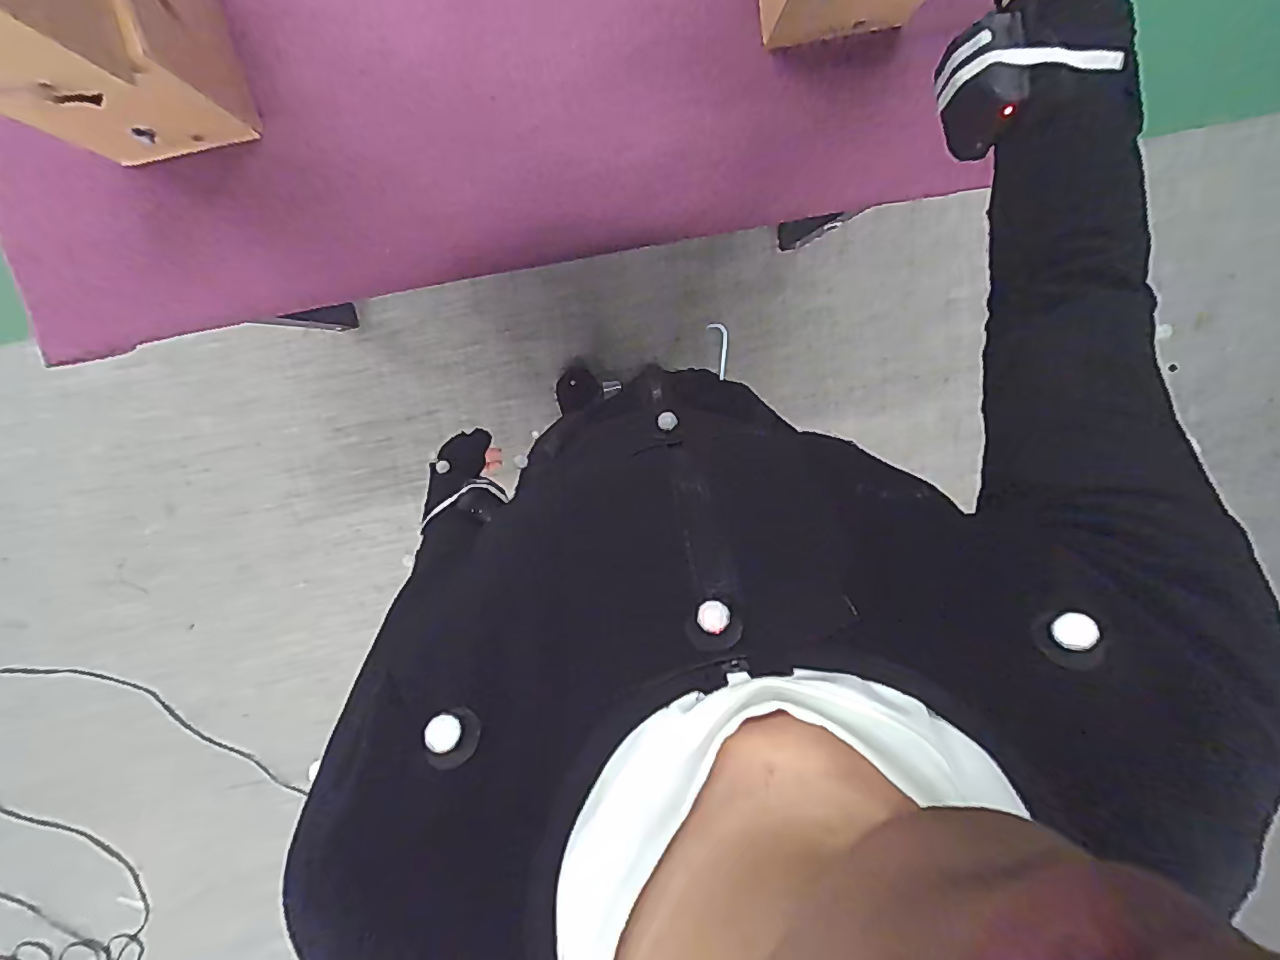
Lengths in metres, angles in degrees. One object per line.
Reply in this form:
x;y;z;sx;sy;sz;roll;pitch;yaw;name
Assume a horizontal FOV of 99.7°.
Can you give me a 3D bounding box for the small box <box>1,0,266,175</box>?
-0.522;-0.434;0.534;0.168;0.176;0.179;-13;104;-1;small box
